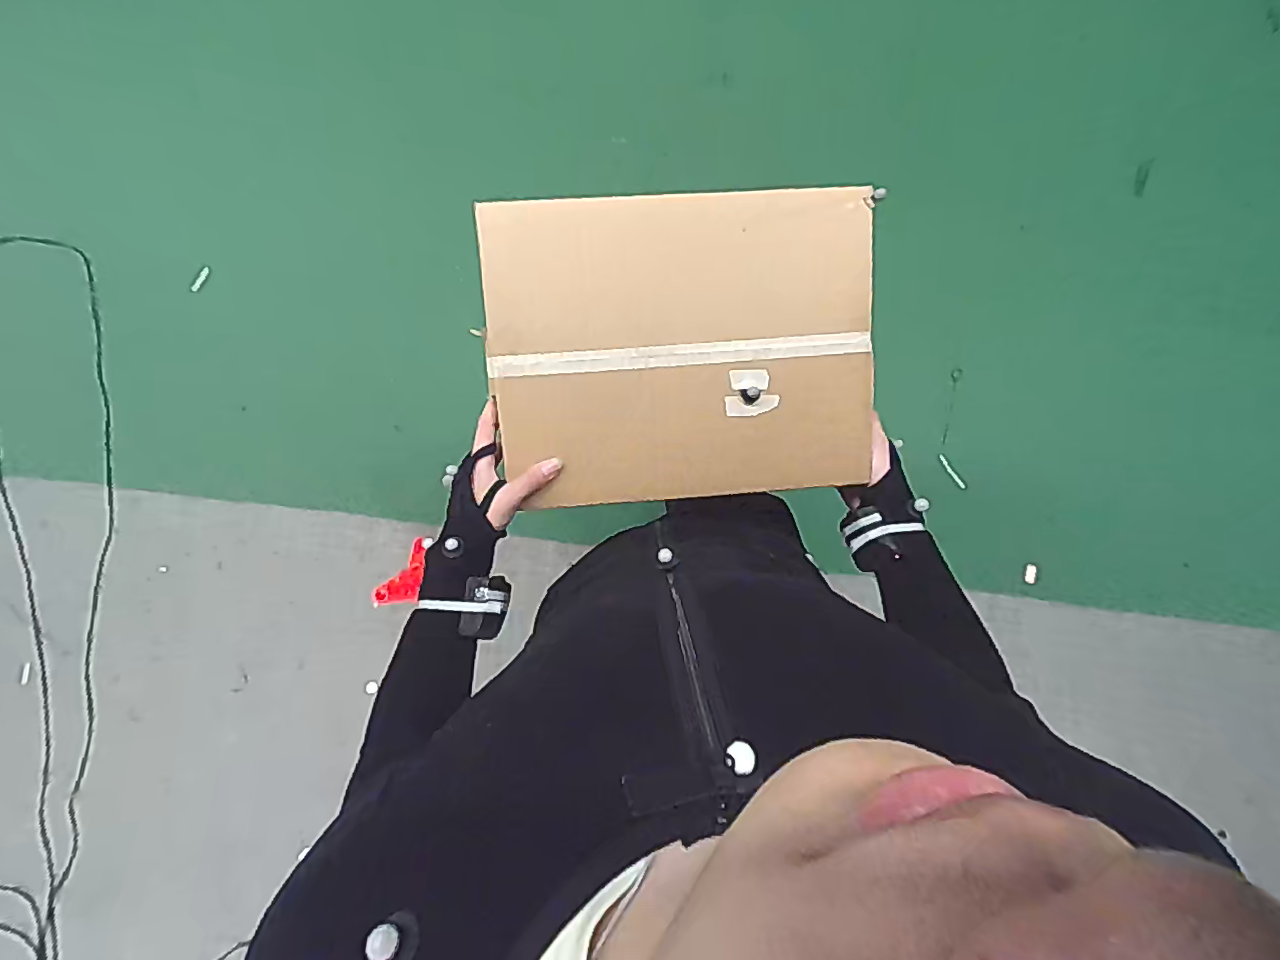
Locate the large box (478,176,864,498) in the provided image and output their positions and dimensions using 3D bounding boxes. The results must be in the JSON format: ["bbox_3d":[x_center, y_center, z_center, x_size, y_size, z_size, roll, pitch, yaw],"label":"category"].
[{"bbox_3d":[0.032,-0.174,0.722,0.408,0.320,0.320,-5,101,-4],"label":"large box"}]

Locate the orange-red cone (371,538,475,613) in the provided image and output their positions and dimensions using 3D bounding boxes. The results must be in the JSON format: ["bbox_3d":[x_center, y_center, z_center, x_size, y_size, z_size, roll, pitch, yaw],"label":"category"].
[{"bbox_3d":[-0.623,0.280,1.472,0.199,0.360,0.198,14,88,4],"label":"orange-red cone"}]
